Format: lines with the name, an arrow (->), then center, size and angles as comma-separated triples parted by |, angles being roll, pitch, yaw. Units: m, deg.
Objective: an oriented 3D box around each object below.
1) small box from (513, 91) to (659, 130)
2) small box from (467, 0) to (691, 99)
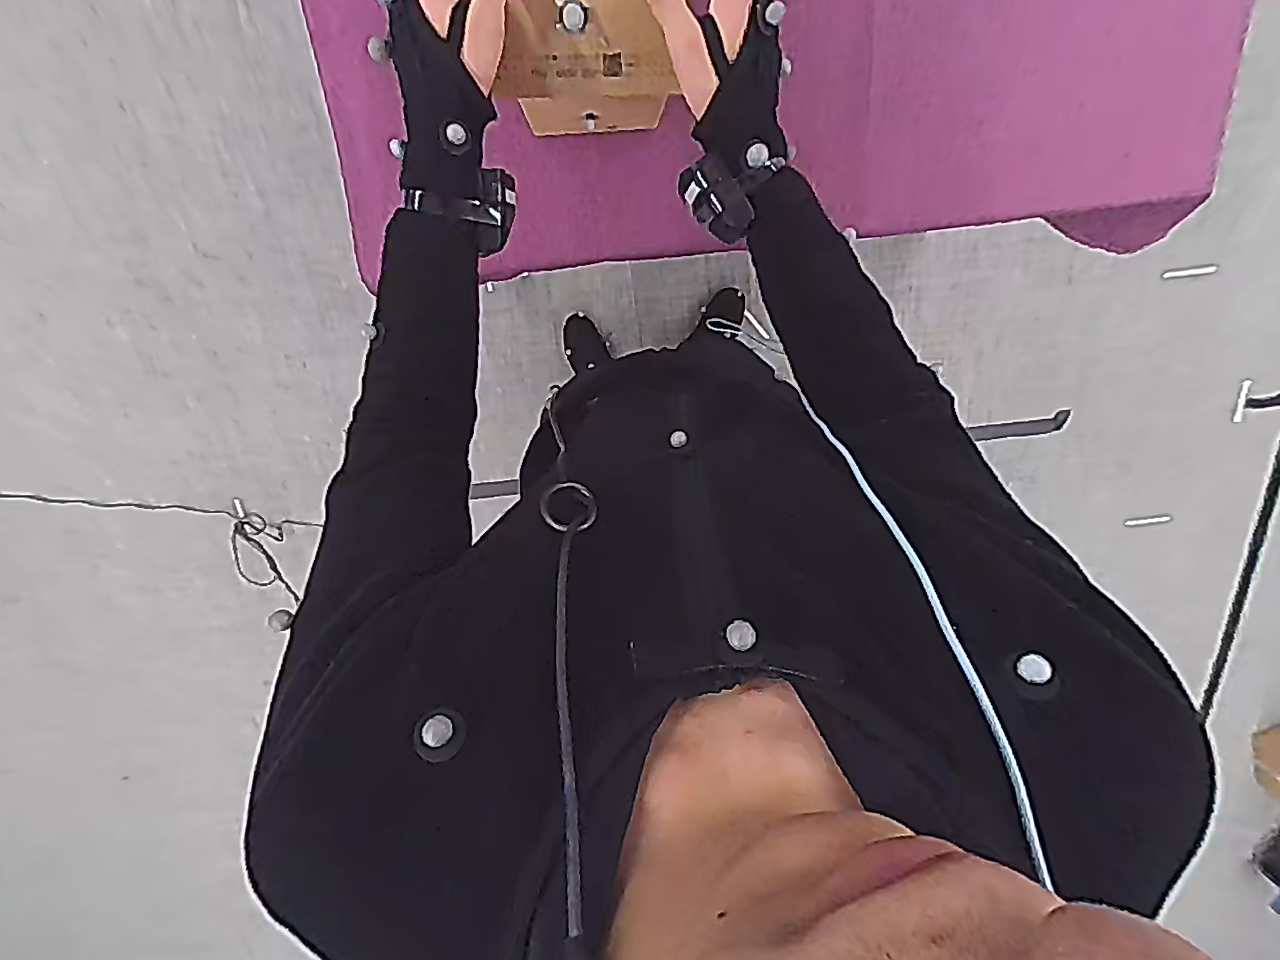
small box -> -0.062, -0.519, 0.620 | 0.168, 0.176, 0.179 | -5, 110, -3
small box -> -0.050, -0.422, 0.428 | 0.168, 0.179, 0.176 | -4, 137, -4
